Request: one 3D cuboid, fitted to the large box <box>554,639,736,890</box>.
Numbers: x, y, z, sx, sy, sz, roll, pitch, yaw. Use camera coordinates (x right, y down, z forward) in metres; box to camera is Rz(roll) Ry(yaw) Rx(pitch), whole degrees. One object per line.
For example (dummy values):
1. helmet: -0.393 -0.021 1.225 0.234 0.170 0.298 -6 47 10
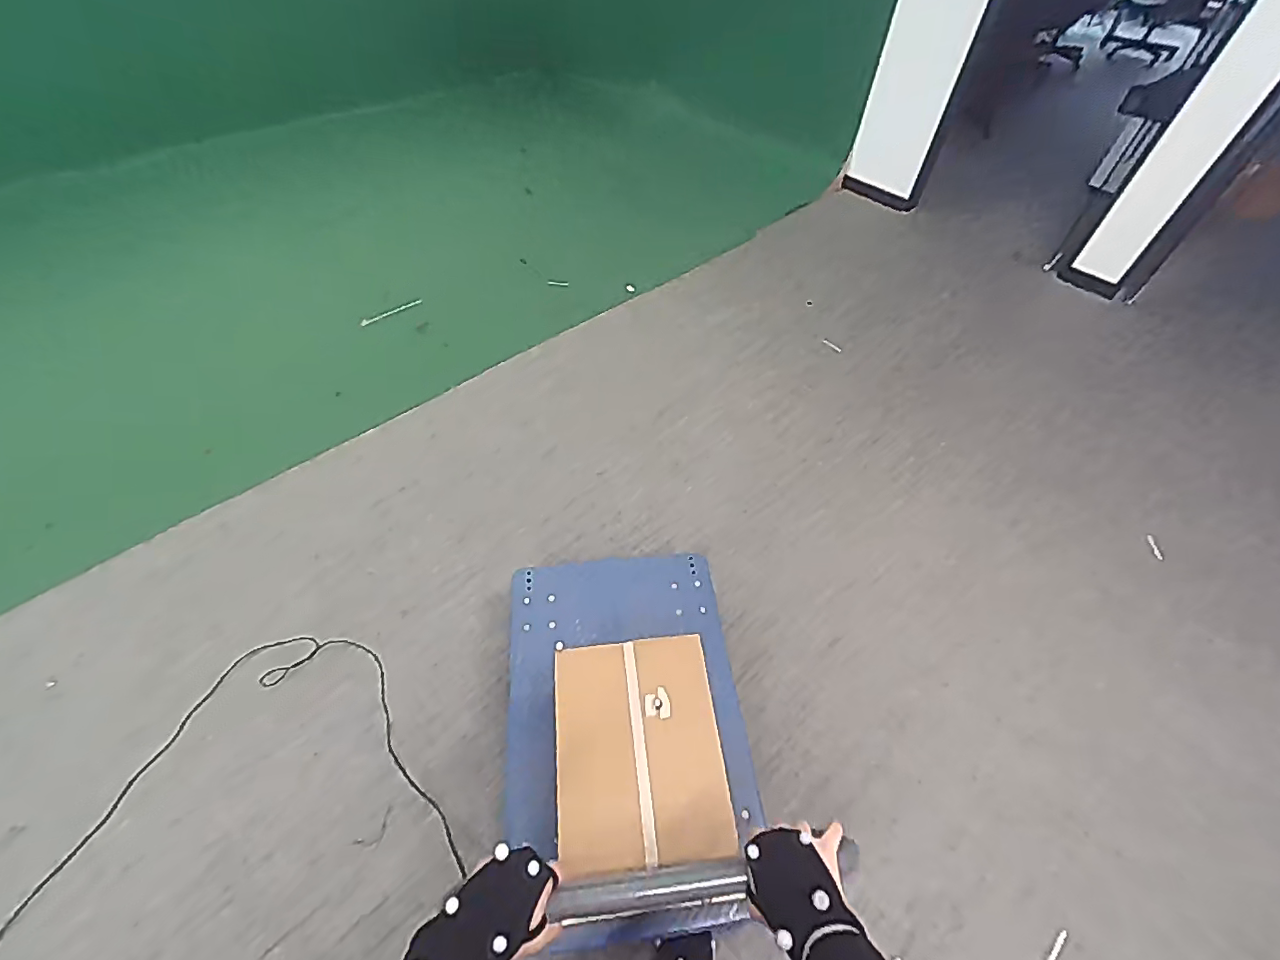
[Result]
1. large box: -0.006 0.608 1.164 0.320 0.320 0.408 -5 51 -5
